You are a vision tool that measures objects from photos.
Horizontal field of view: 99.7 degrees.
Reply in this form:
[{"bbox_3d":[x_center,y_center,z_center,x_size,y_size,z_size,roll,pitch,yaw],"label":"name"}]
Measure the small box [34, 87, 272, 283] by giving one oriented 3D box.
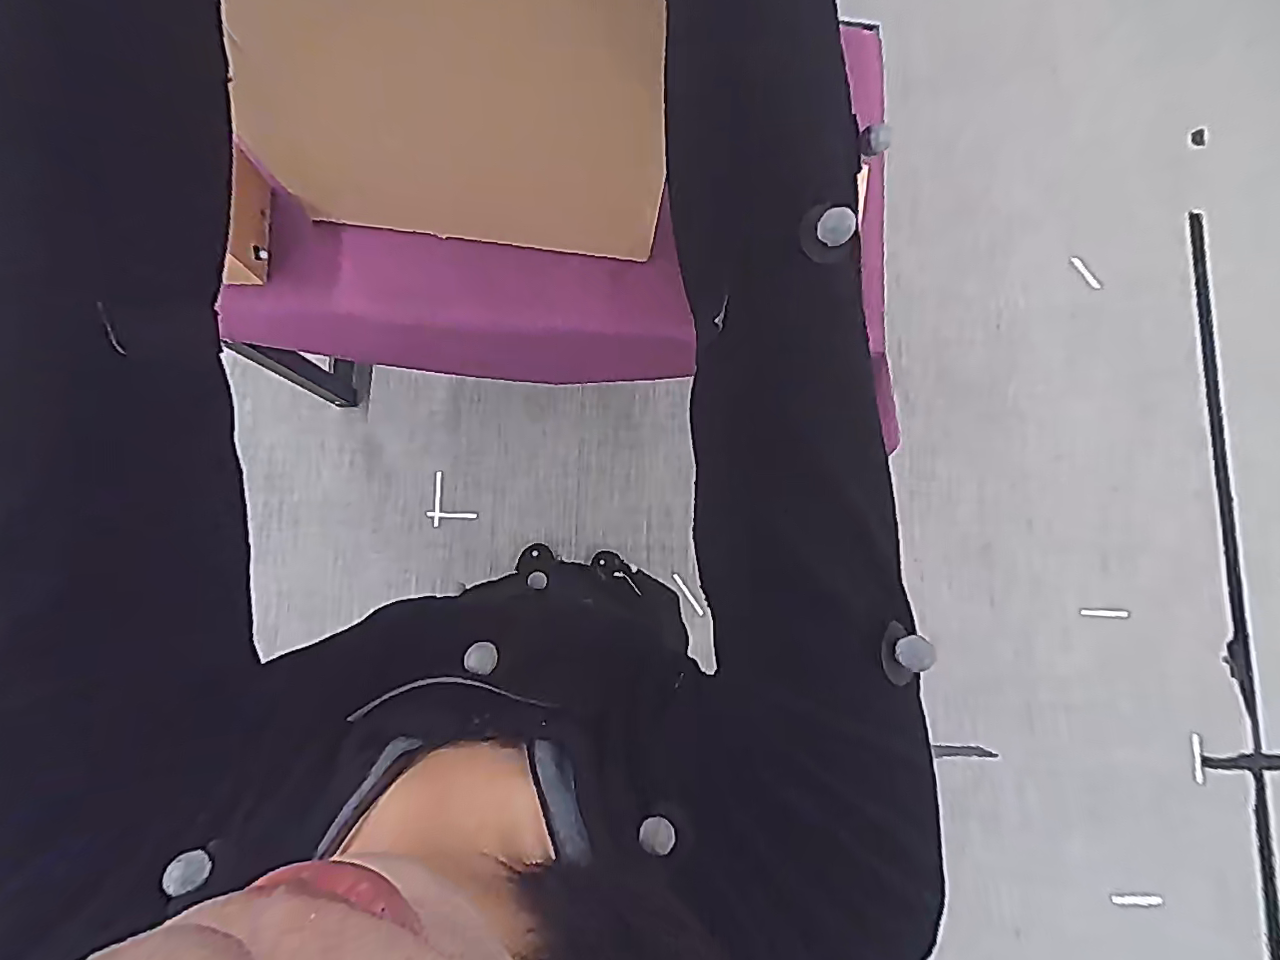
[{"bbox_3d":[-0.632,-0.383,0.729,0.179,0.176,0.168,-2,82,-6],"label":"small box"}]
